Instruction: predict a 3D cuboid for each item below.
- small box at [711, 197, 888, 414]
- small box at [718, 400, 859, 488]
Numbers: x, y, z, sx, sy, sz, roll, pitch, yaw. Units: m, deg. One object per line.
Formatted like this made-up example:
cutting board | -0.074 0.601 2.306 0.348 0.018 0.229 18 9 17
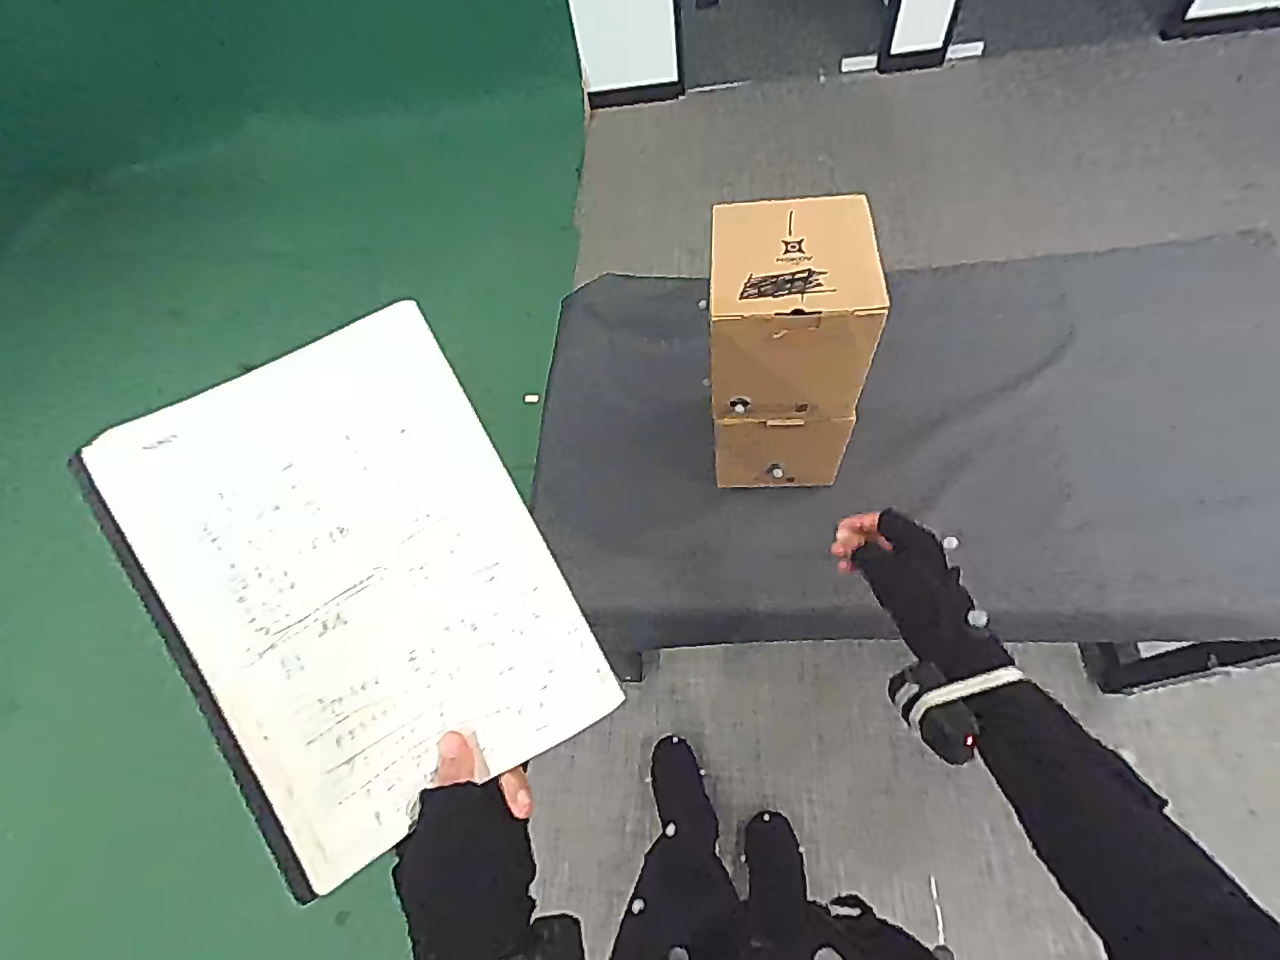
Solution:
small box | 0.168 -0.189 0.620 0.168 0.176 0.179 0 59 9
small box | 0.194 -0.105 0.758 0.168 0.176 0.179 -2 60 8
